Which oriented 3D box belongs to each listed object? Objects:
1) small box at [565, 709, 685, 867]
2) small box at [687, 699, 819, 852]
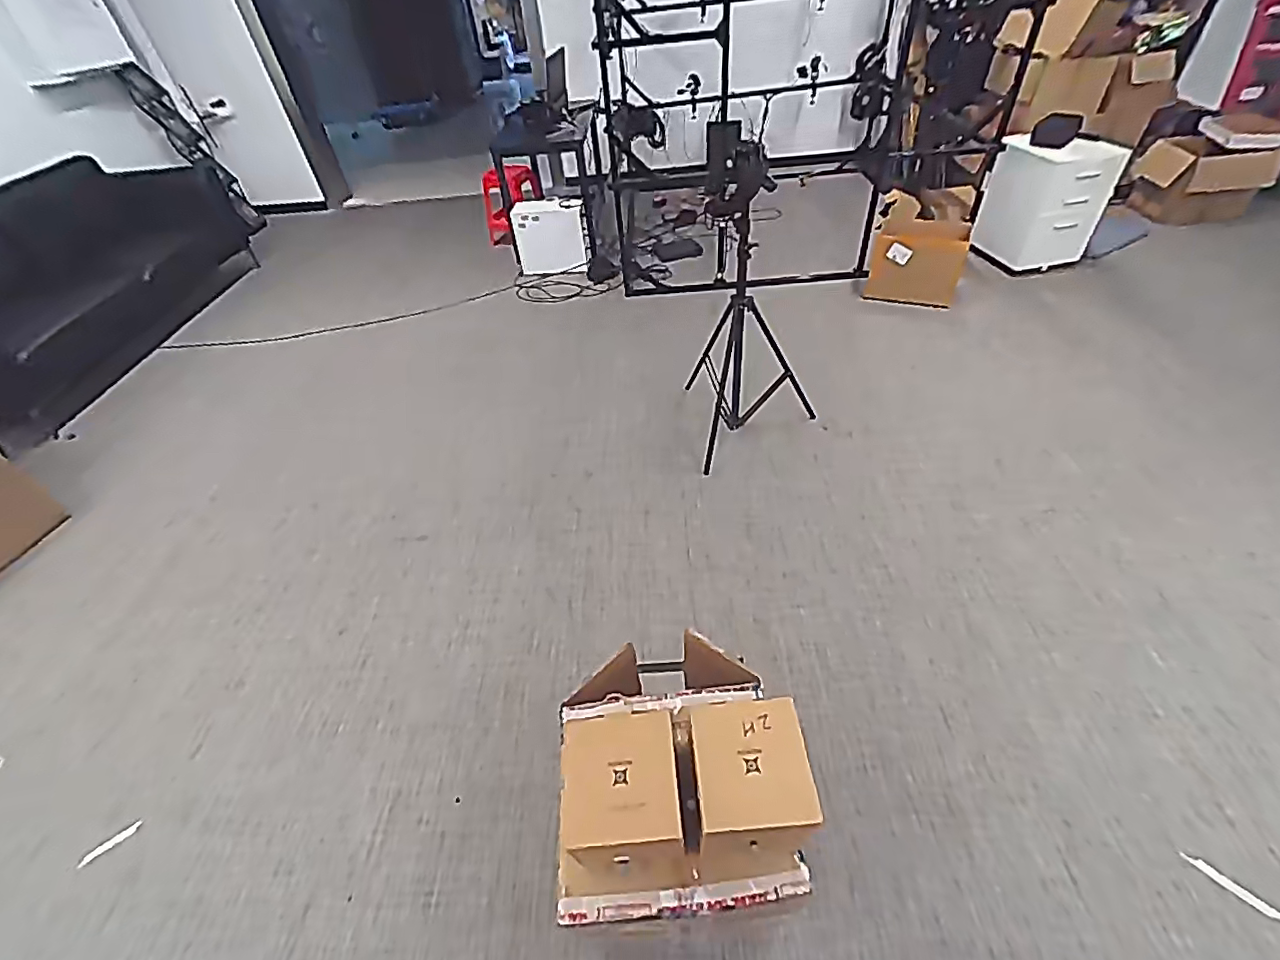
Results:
[{"bbox_3d":[-0.021,0.487,0.854,0.168,0.176,0.179,-8,48,1],"label":"small box"},{"bbox_3d":[0.166,0.469,0.851,0.168,0.176,0.179,-5,46,0],"label":"small box"}]
